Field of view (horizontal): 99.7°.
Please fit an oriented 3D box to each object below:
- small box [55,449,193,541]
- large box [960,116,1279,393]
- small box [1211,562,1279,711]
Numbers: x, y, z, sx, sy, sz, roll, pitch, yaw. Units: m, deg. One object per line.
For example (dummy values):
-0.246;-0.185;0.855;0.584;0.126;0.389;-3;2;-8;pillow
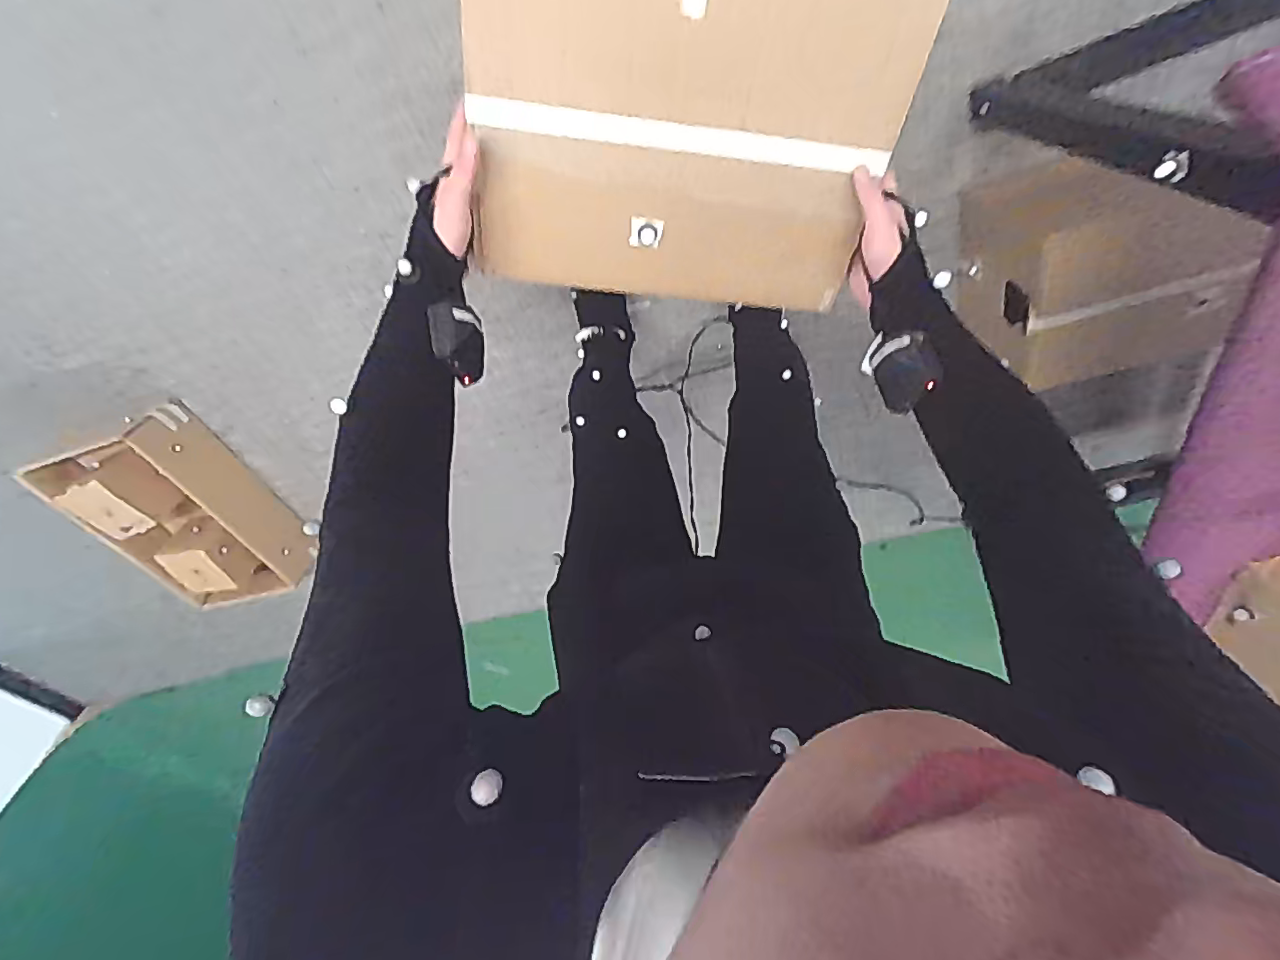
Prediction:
-1.405;0.034;1.485;0.168;0.176;0.179;-17;128;15;small box
0.878;-0.420;1.015;0.408;0.320;0.320;-15;129;12;large box
0.902;0.203;0.676;0.179;0.176;0.168;-13;128;12;small box
